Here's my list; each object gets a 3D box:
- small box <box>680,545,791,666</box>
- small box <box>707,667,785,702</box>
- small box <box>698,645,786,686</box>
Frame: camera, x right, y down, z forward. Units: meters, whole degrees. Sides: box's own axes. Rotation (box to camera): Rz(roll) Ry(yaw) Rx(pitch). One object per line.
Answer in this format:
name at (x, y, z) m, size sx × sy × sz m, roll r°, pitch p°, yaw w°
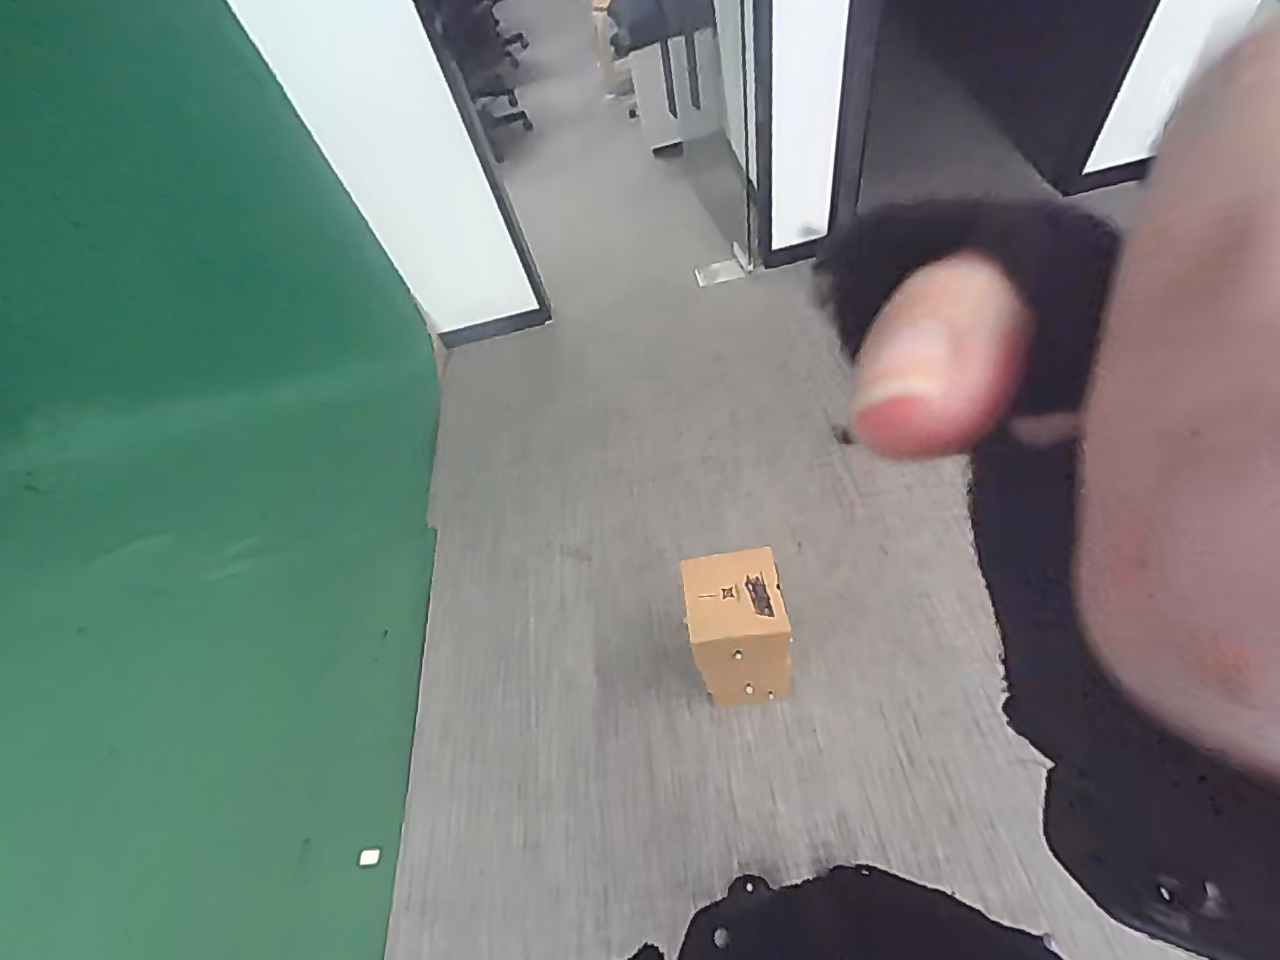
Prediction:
small box at (0.178, 0.247, 1.042) m, size 0.179 × 0.176 × 0.168 m, roll -10°, pitch 54°, yaw 4°
small box at (0.244, 0.426, 1.309) m, size 0.179 × 0.176 × 0.168 m, roll -11°, pitch 54°, yaw 7°
small box at (0.213, 0.339, 1.174) m, size 0.179 × 0.176 × 0.168 m, roll -7°, pitch 55°, yaw 8°
